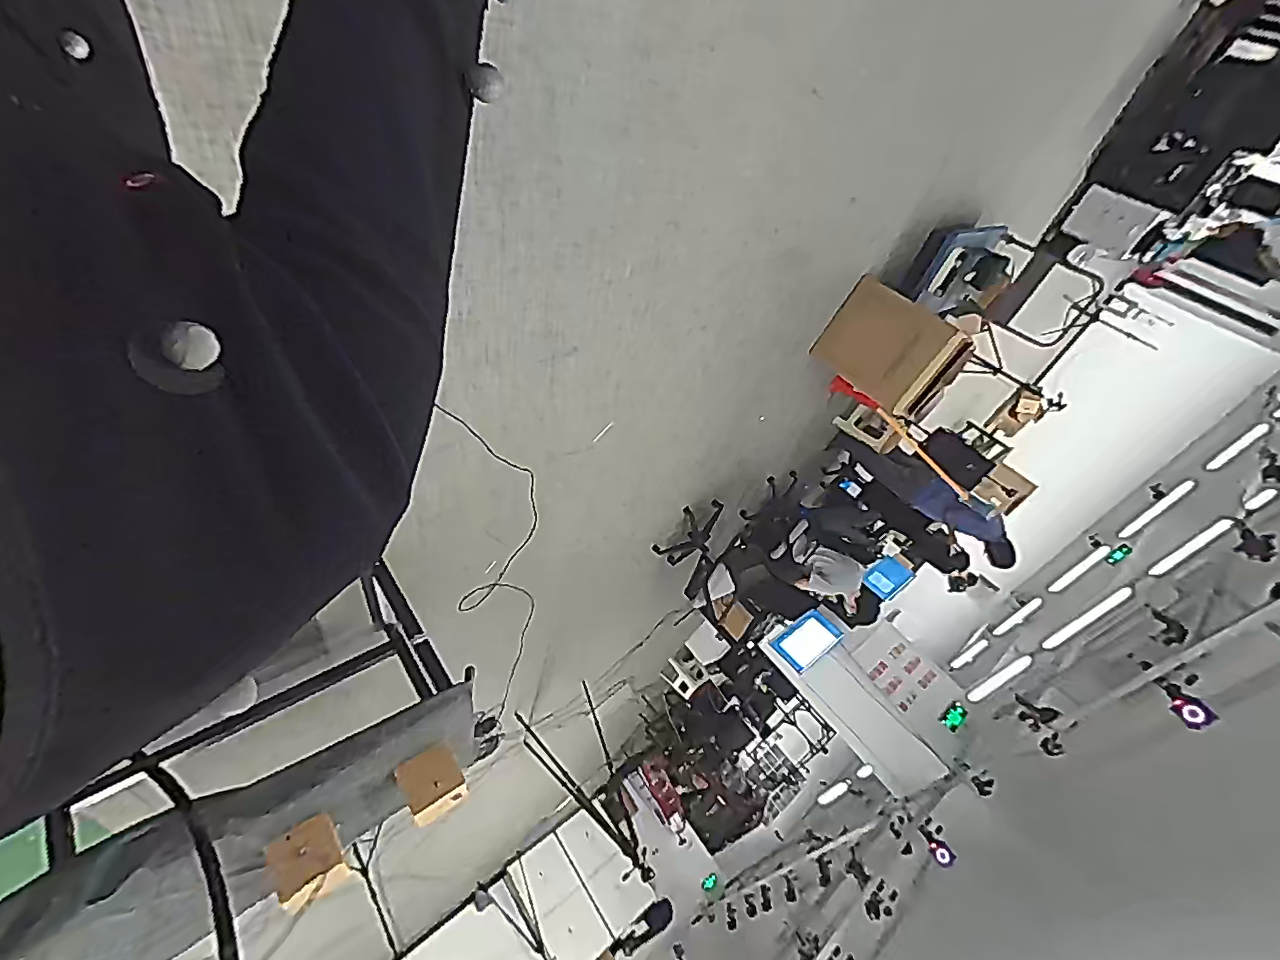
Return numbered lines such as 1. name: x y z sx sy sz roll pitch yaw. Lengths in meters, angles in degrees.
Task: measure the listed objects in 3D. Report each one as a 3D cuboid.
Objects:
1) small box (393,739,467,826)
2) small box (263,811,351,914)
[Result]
1. small box: -0.699 1.006 1.807 0.179 0.176 0.168 -24 146 -31
2. small box: -0.979 1.117 1.592 0.168 0.176 0.179 -22 145 -36
